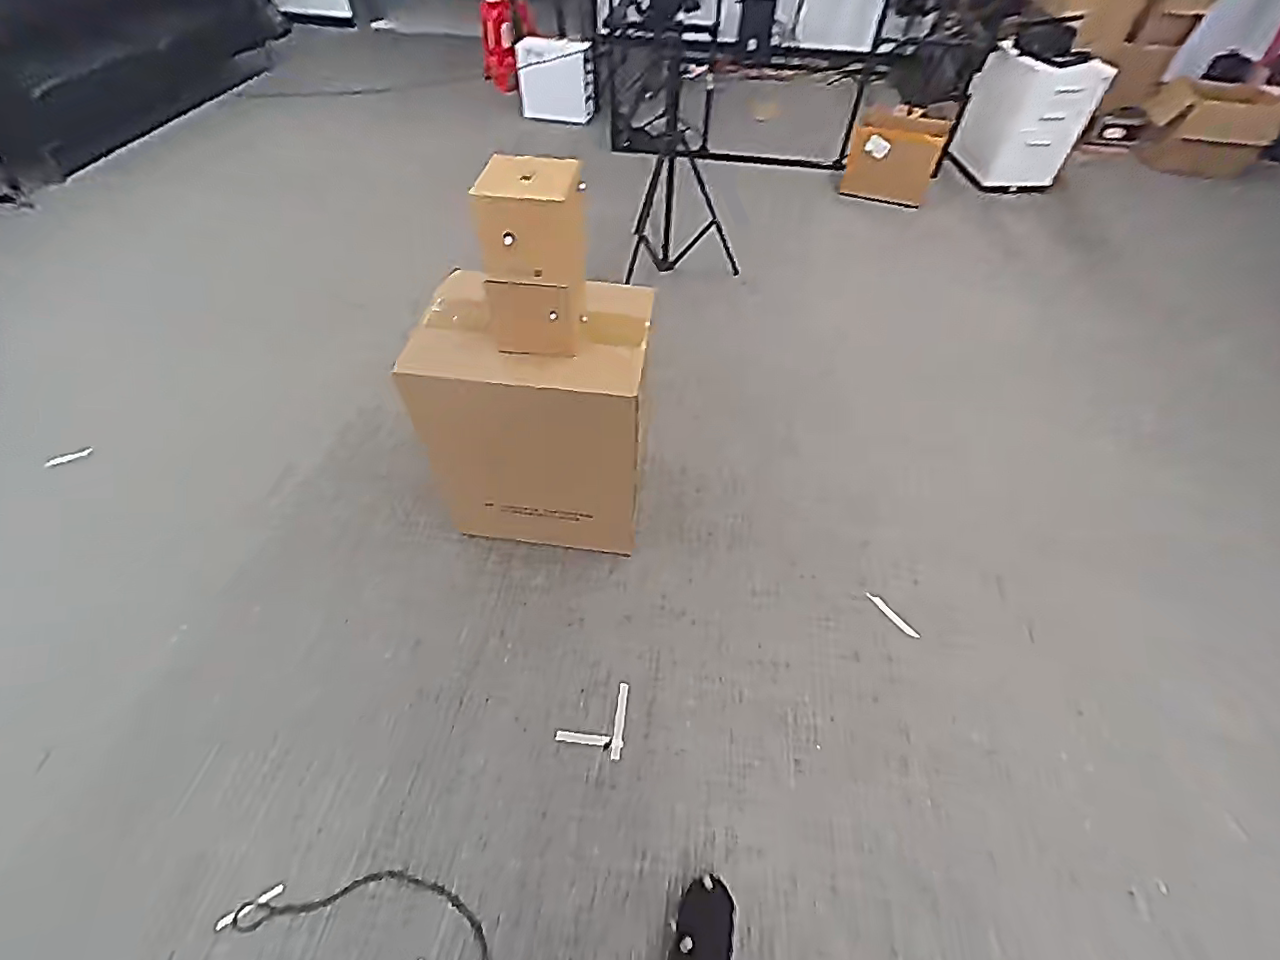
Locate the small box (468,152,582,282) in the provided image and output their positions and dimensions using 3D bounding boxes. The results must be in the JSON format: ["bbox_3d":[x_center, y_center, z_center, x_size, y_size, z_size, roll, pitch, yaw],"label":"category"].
[{"bbox_3d":[-0.204,-0.494,1.022,0.168,0.176,0.179,5,50,2],"label":"small box"}]
